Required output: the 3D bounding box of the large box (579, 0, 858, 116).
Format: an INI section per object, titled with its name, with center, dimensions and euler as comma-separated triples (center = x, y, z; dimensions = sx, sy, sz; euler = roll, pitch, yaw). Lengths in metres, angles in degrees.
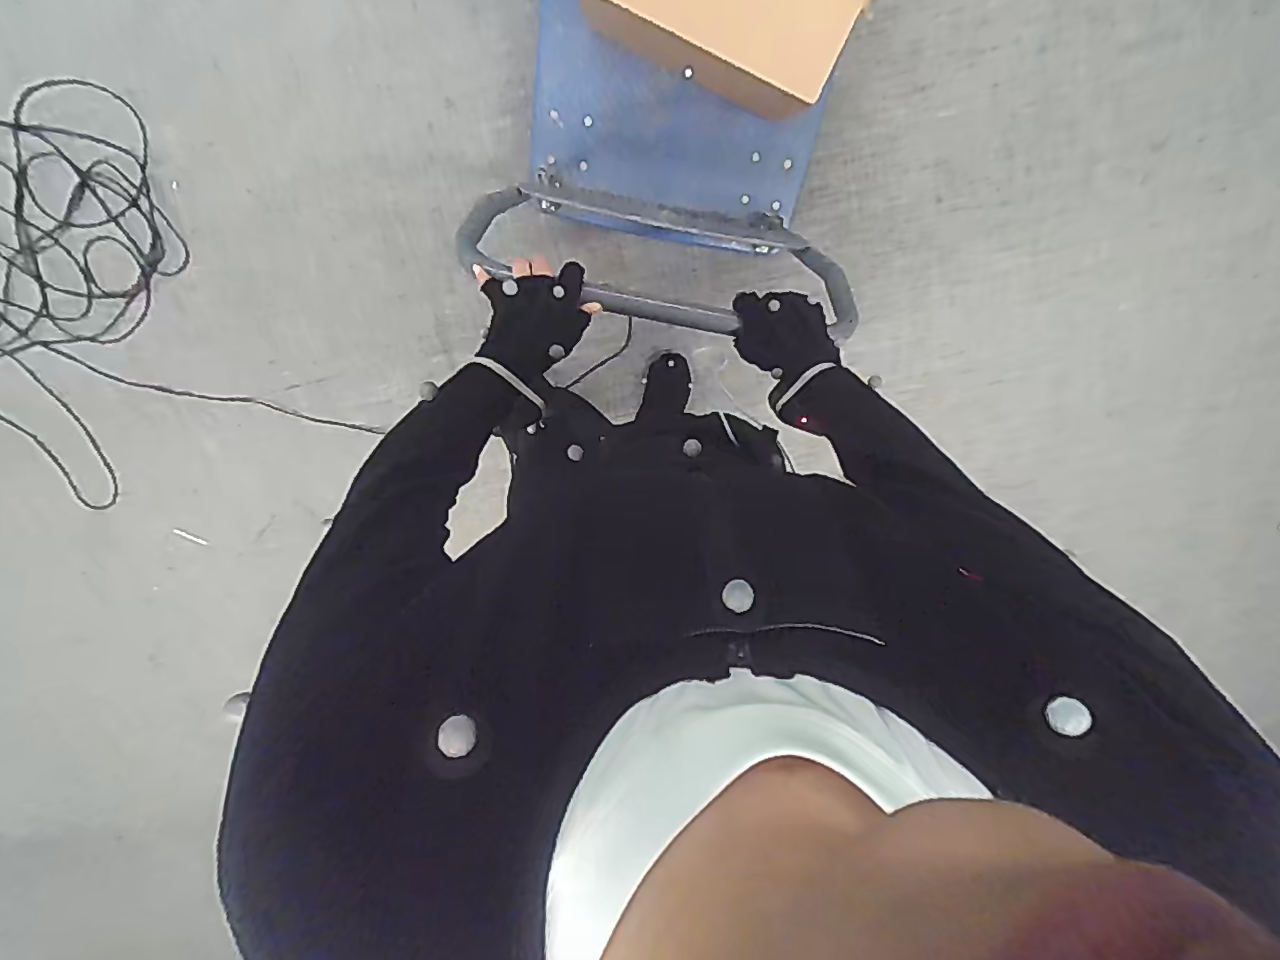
[large box]
center = 0.145, -0.842, 0.864
dimensions = 0.408, 0.320, 0.320
euler = 21, 118, -9
